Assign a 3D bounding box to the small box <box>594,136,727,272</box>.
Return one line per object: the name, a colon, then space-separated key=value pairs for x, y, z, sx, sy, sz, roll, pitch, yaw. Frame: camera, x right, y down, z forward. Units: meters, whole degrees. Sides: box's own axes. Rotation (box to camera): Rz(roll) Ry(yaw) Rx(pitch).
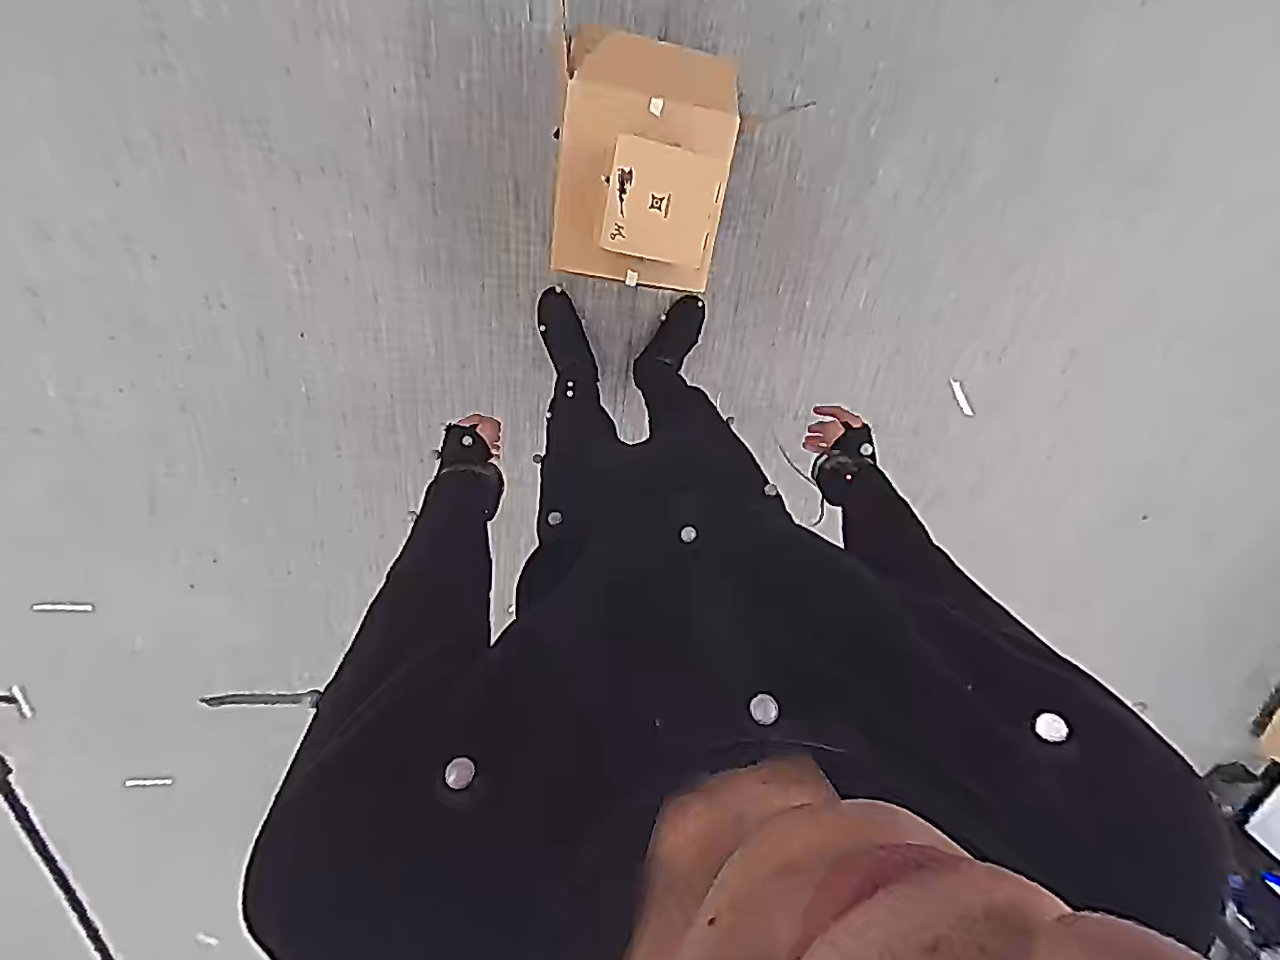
small box: x=0.025 y=-0.469 z=0.927 sx=0.179 sy=0.176 sz=0.168 roll=8 pitch=115 yaw=-13
